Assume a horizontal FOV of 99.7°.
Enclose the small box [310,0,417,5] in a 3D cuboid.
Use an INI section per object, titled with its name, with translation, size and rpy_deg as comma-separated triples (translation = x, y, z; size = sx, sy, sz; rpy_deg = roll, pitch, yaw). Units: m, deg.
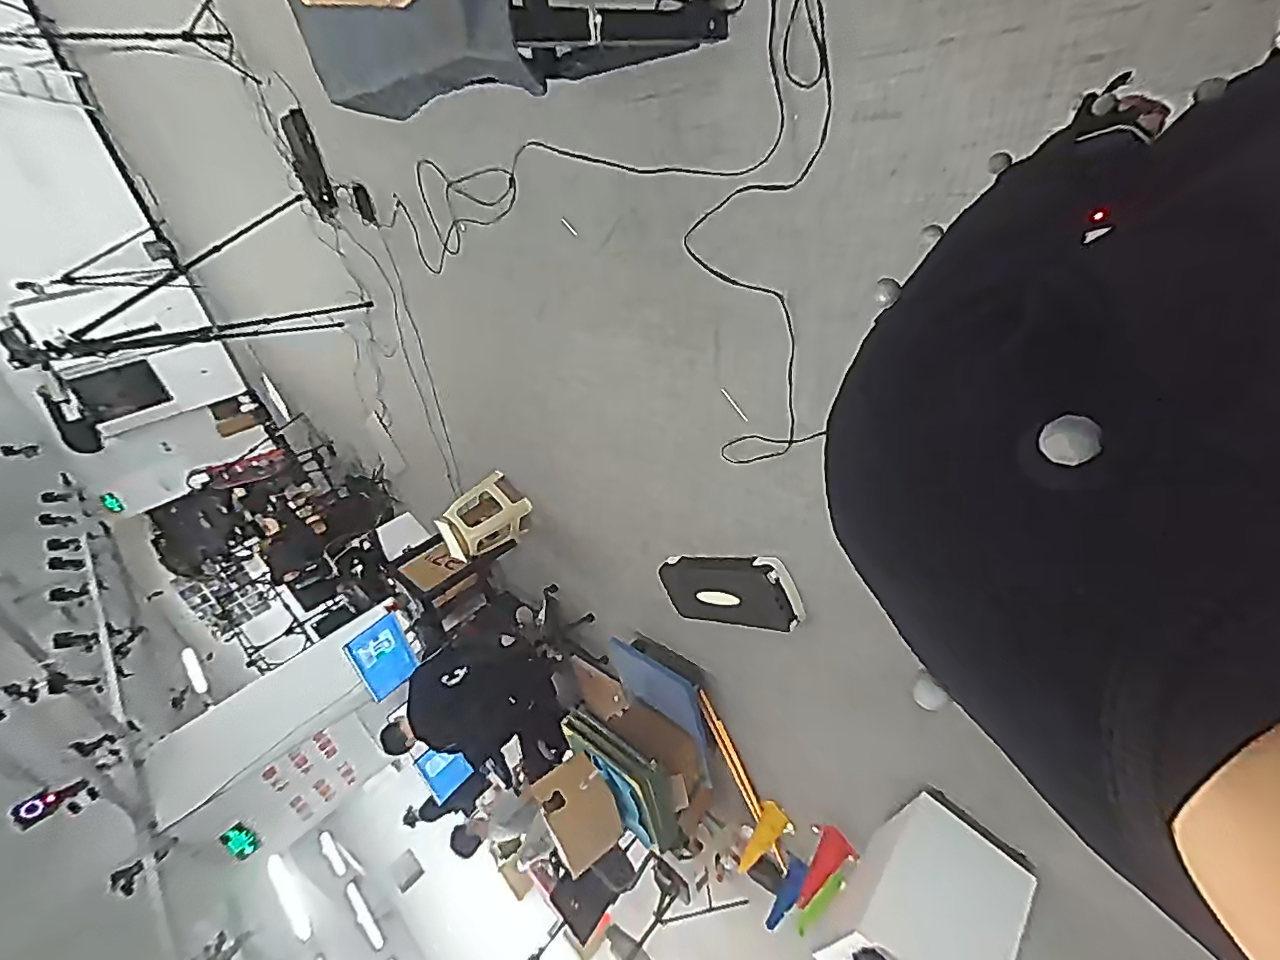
[small box]
translation = -0.412, -0.831, 0.789
size = 0.168, 0.176, 0.179
rpy_deg = 22, 133, 43
